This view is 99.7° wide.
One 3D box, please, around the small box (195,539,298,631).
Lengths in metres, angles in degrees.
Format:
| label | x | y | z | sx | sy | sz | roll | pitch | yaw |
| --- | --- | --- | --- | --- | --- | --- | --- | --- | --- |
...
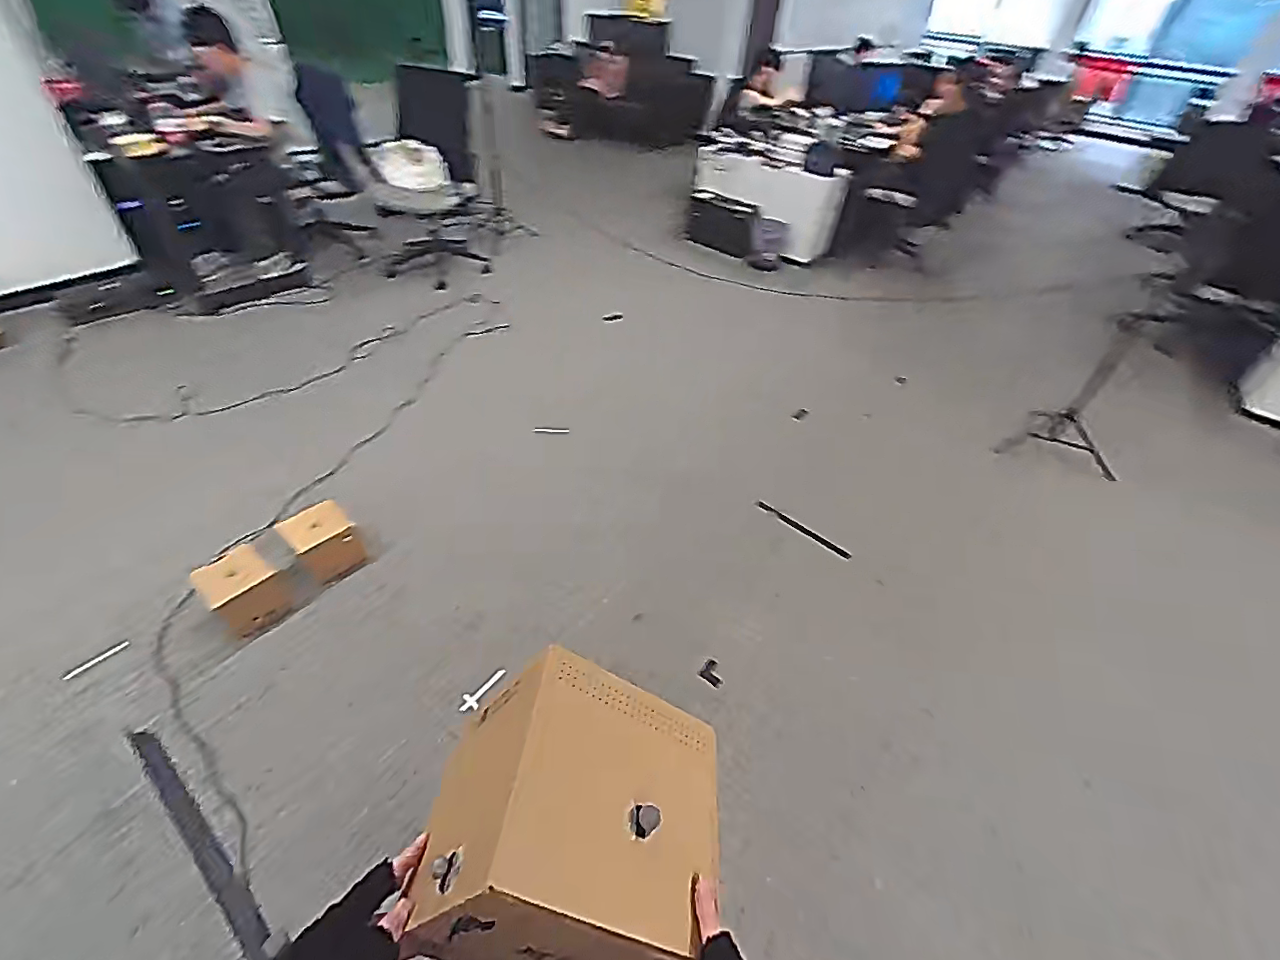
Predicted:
| label | x | y | z | sx | sy | sz | roll | pitch | yaw |
| --- | --- | --- | --- | --- | --- | --- | --- | --- | --- |
| small box | -1.171 | 0.317 | 1.619 | 0.179 | 0.176 | 0.168 | 33 | 50 | 25 |

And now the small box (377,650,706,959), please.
| label | x | y | z | sx | sy | sz | roll | pitch | yaw |
| --- | --- | --- | --- | --- | --- | --- | --- | --- | --- |
| small box | -0.066 | 0.267 | 0.435 | 0.179 | 0.168 | 0.176 | 33 | 32 | -19 |

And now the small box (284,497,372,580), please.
| label | x | y | z | sx | sy | sz | roll | pitch | yaw |
| --- | --- | --- | --- | --- | --- | --- | --- | --- | --- |
| small box | -1.016 | 0.193 | 1.771 | 0.168 | 0.176 | 0.179 | 34 | 49 | 27 |
